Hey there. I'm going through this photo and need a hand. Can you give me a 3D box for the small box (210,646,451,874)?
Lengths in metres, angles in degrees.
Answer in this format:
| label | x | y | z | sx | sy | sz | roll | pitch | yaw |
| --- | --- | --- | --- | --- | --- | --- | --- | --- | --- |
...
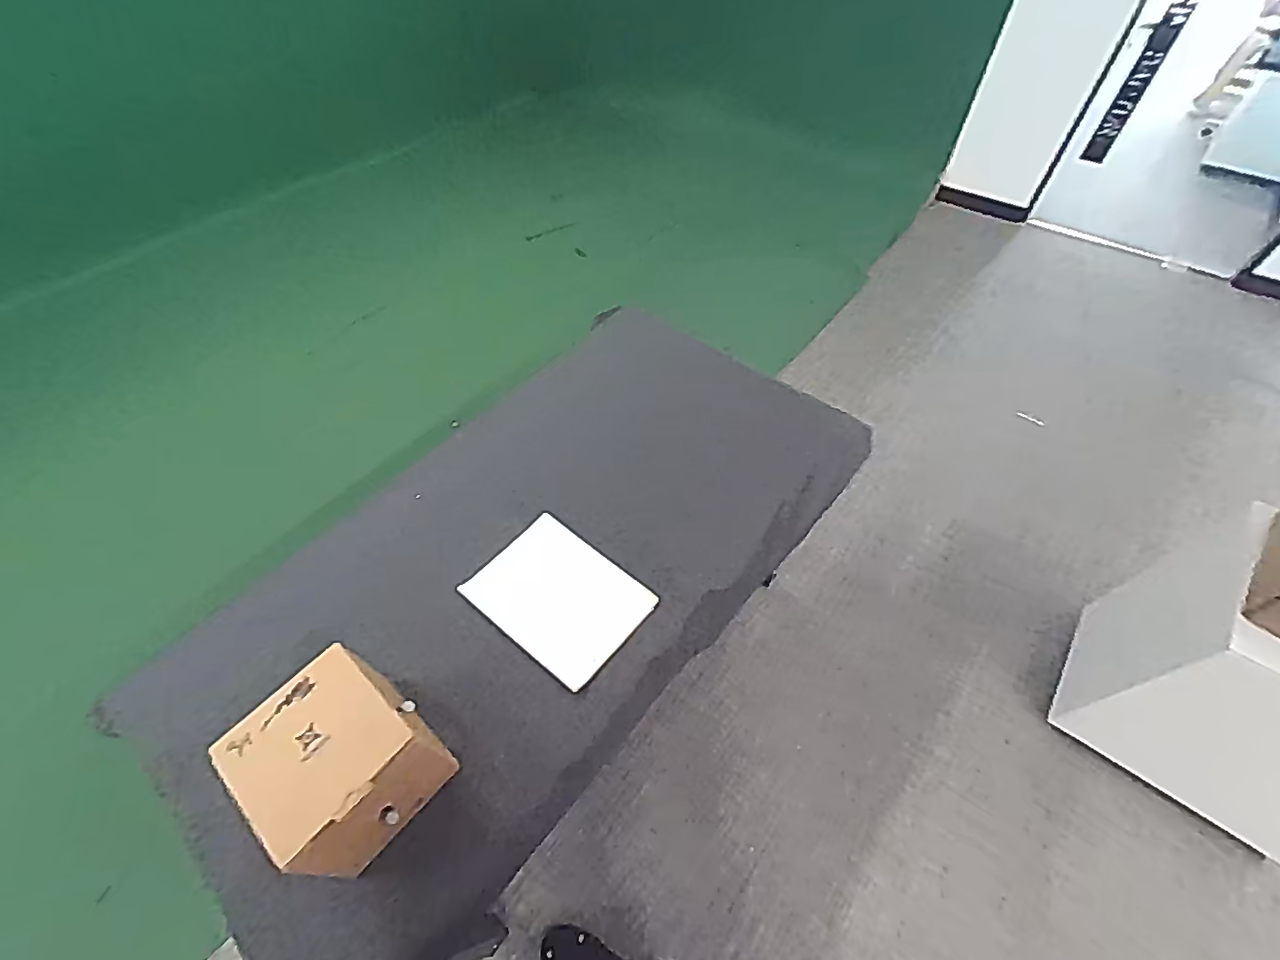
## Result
| label | x | y | z | sx | sy | sz | roll | pitch | yaw |
| --- | --- | --- | --- | --- | --- | --- | --- | --- | --- |
| small box | -0.368 | 0.348 | 0.675 | 0.179 | 0.176 | 0.168 | 34 | 60 | 23 |
